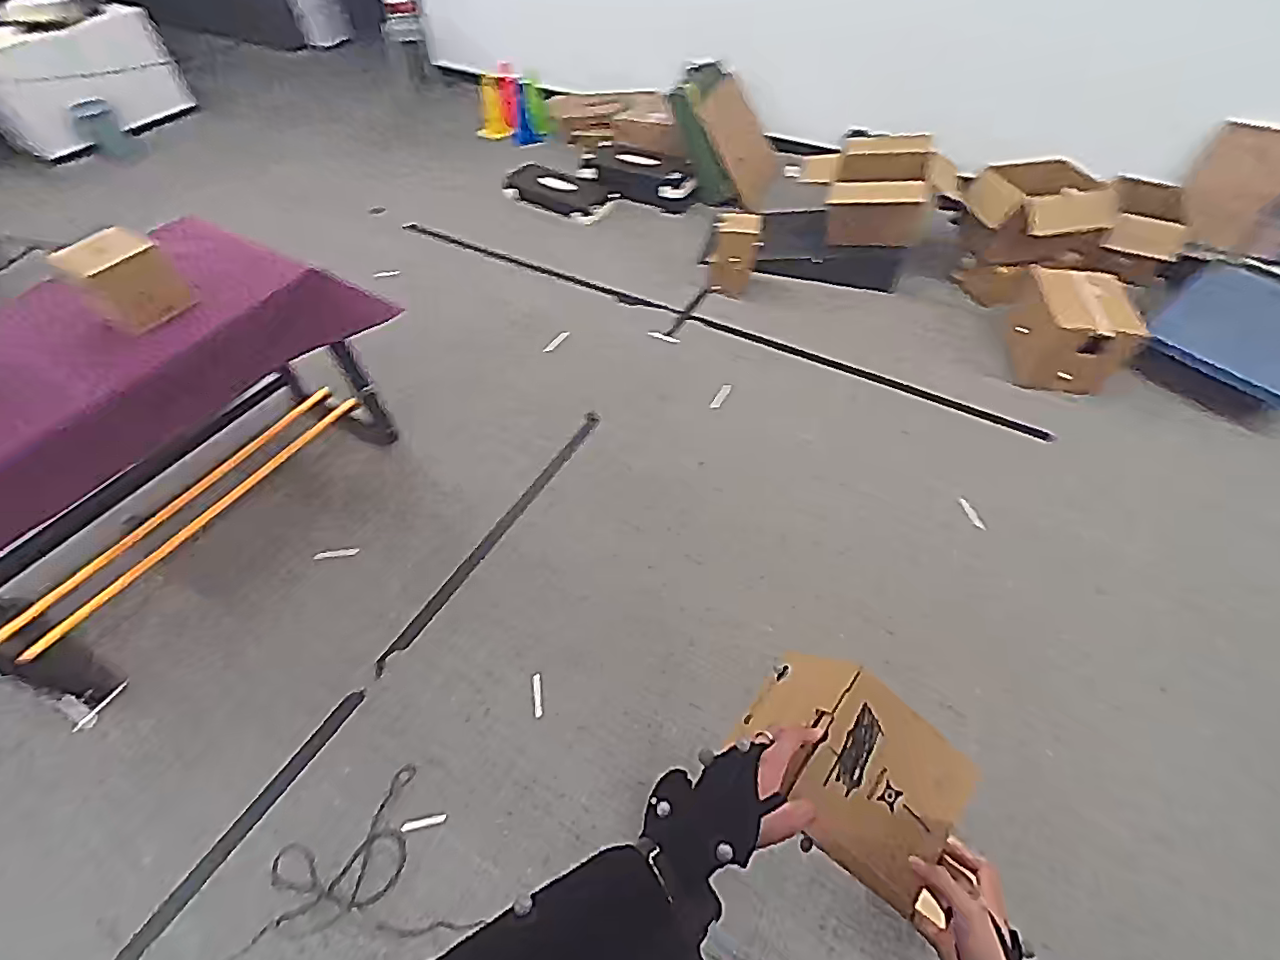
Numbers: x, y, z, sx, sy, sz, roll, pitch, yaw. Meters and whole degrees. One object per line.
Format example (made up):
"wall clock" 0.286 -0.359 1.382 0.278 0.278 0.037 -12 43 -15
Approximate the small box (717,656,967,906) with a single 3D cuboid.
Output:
"small box" 0.219 0.323 0.626 0.179 0.176 0.168 41 72 -3

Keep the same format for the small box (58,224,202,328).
"small box" -1.281 -0.513 1.374 0.179 0.176 0.168 25 58 18

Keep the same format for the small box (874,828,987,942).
"small box" 0.646 0.902 1.237 0.168 0.176 0.179 31 58 22
